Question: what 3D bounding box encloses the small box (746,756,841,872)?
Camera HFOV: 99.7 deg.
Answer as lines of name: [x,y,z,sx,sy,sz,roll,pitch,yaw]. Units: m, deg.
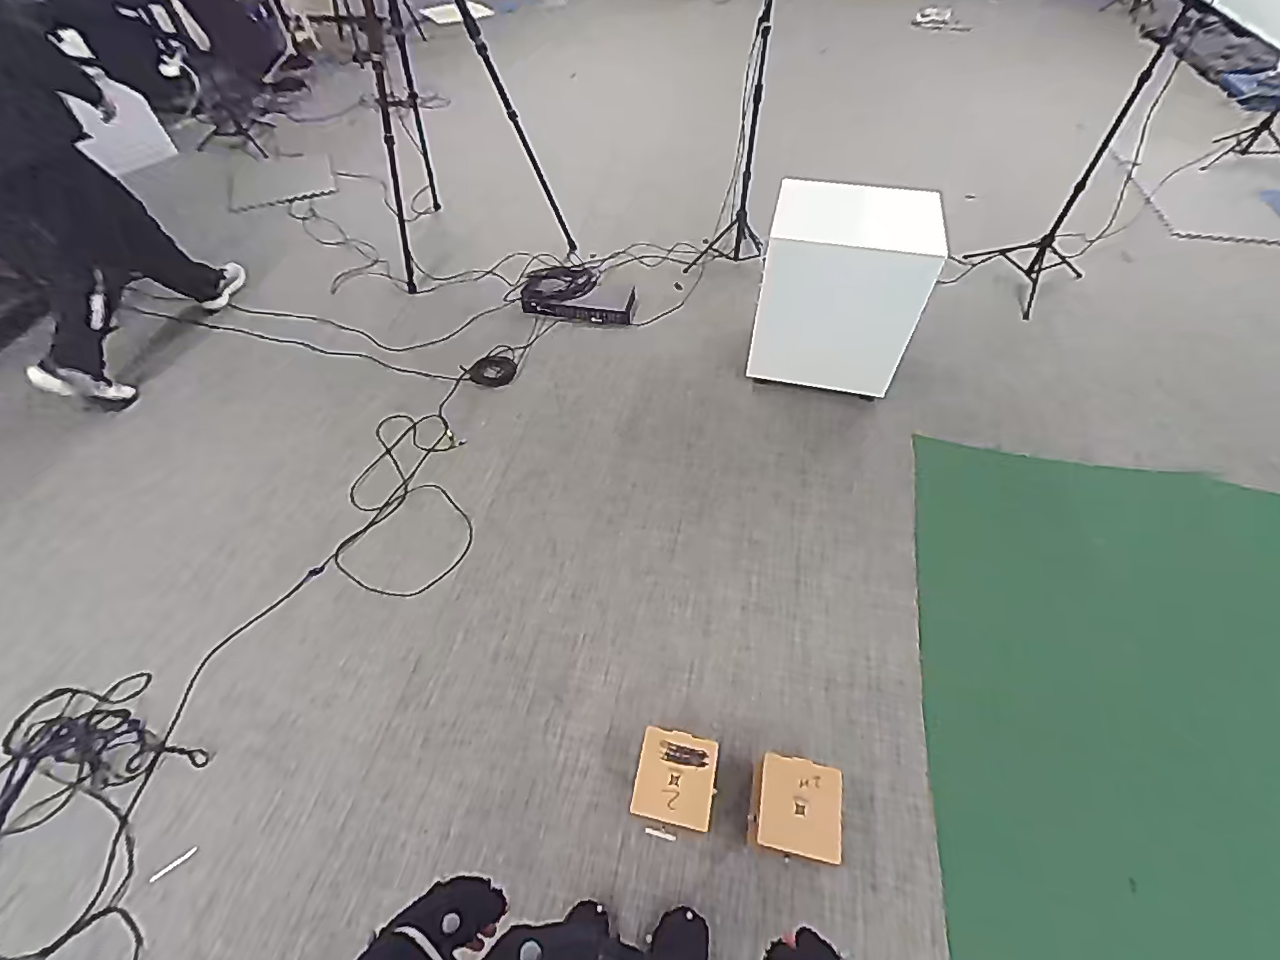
small box: [0.329,0.727,1.171,0.168,0.176,0.179,10,53,8]
